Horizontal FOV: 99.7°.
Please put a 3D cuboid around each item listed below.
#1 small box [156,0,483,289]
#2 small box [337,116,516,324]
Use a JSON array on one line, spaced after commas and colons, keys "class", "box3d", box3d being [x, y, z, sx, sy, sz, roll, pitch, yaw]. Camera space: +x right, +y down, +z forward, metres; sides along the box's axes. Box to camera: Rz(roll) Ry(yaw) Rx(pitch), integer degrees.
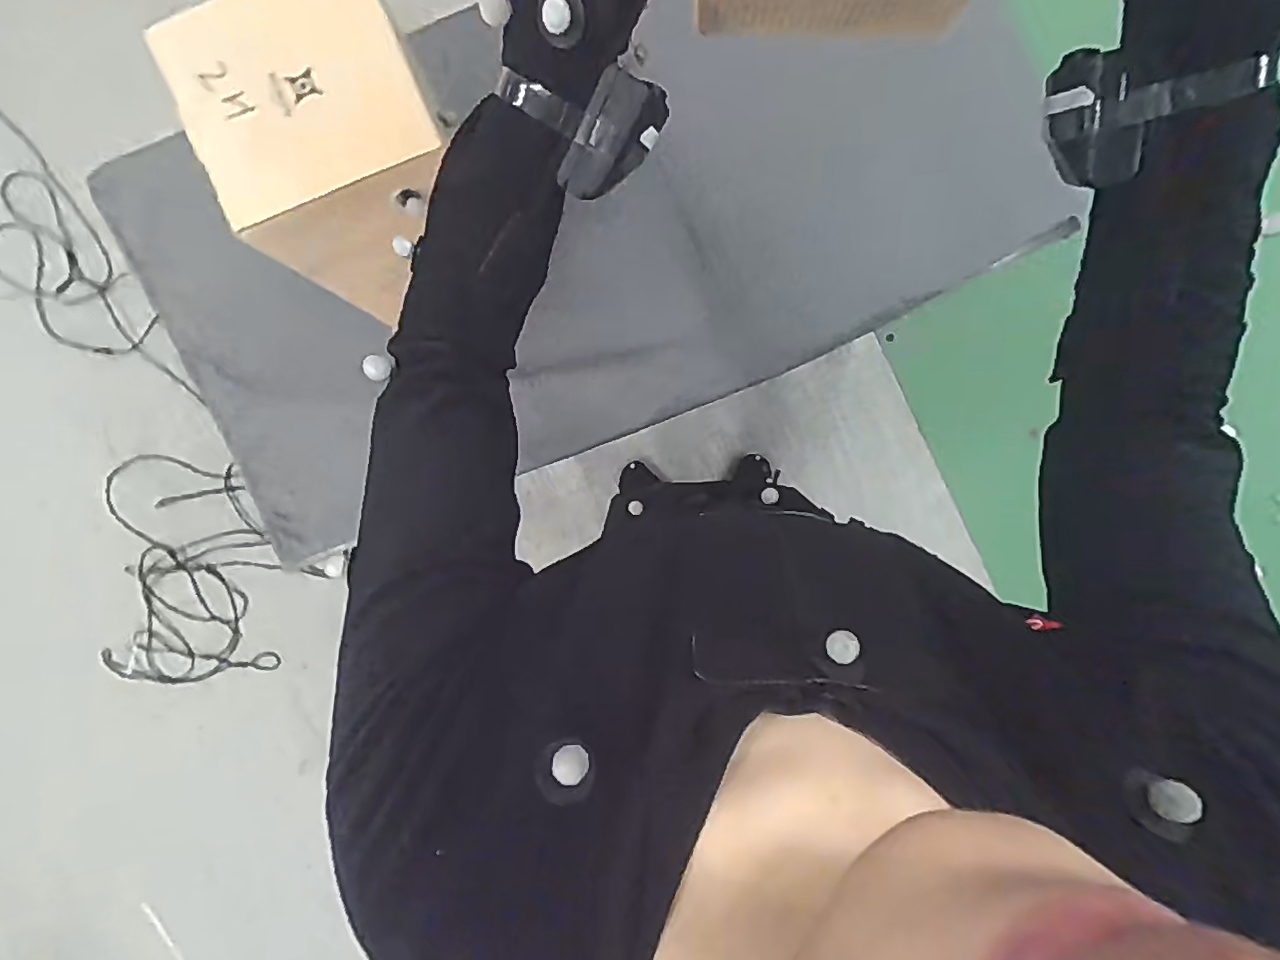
[{"class": "small box", "box3d": [-0.260, -0.304, 0.494, 0.179, 0.176, 0.168, -23, 91, -1]}, {"class": "small box", "box3d": [-0.272, -0.311, 0.658, 0.179, 0.176, 0.168, -22, 92, -2]}]
